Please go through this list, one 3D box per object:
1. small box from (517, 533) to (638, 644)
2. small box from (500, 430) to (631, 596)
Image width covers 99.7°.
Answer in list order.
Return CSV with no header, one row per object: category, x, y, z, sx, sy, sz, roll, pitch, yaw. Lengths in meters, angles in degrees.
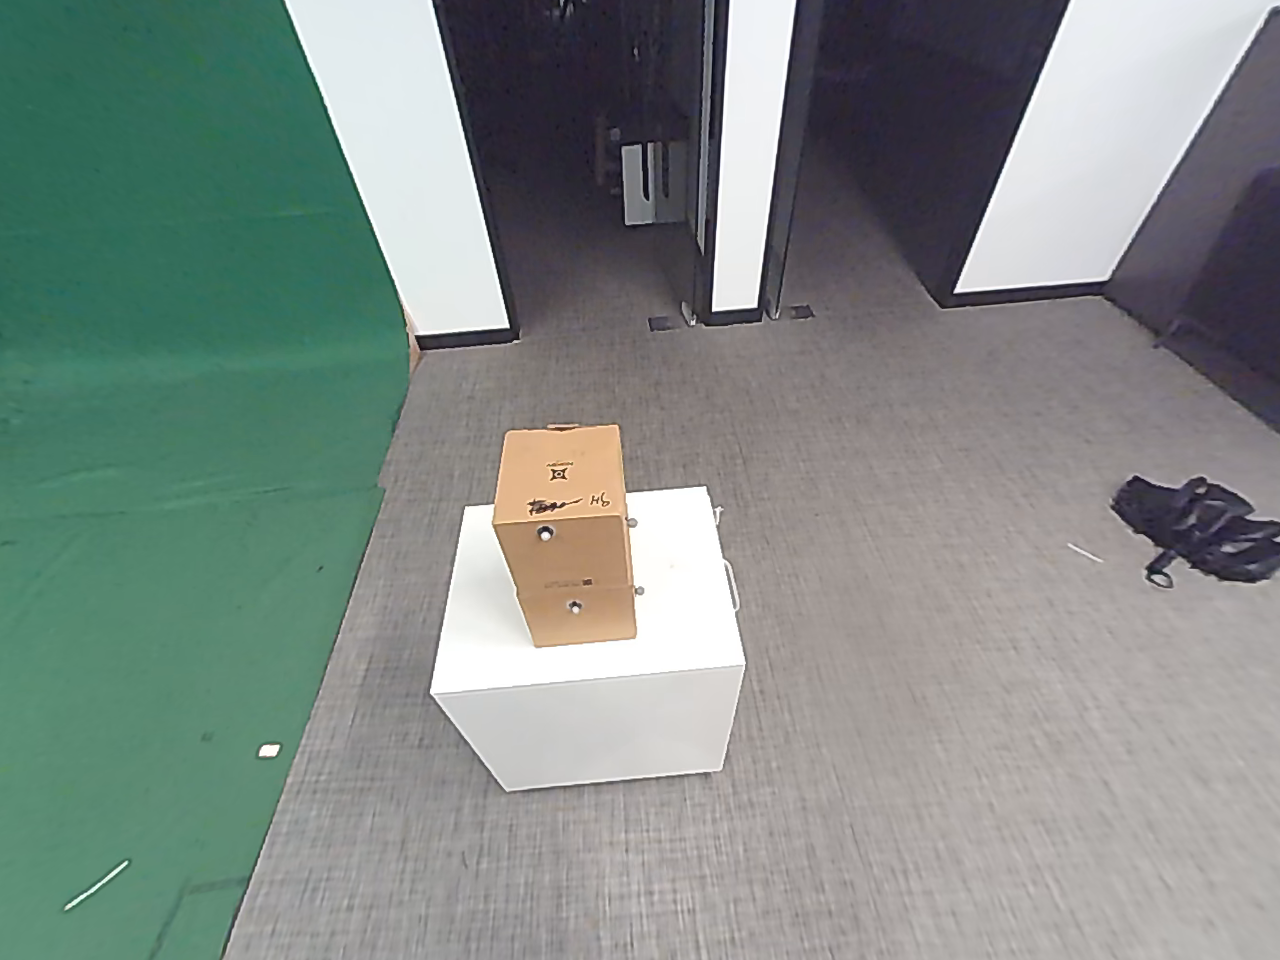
small box,-0.099,0.163,0.913,0.179,0.176,0.168,-4,46,-2
small box,-0.103,0.048,0.800,0.168,0.176,0.179,-5,47,-3
